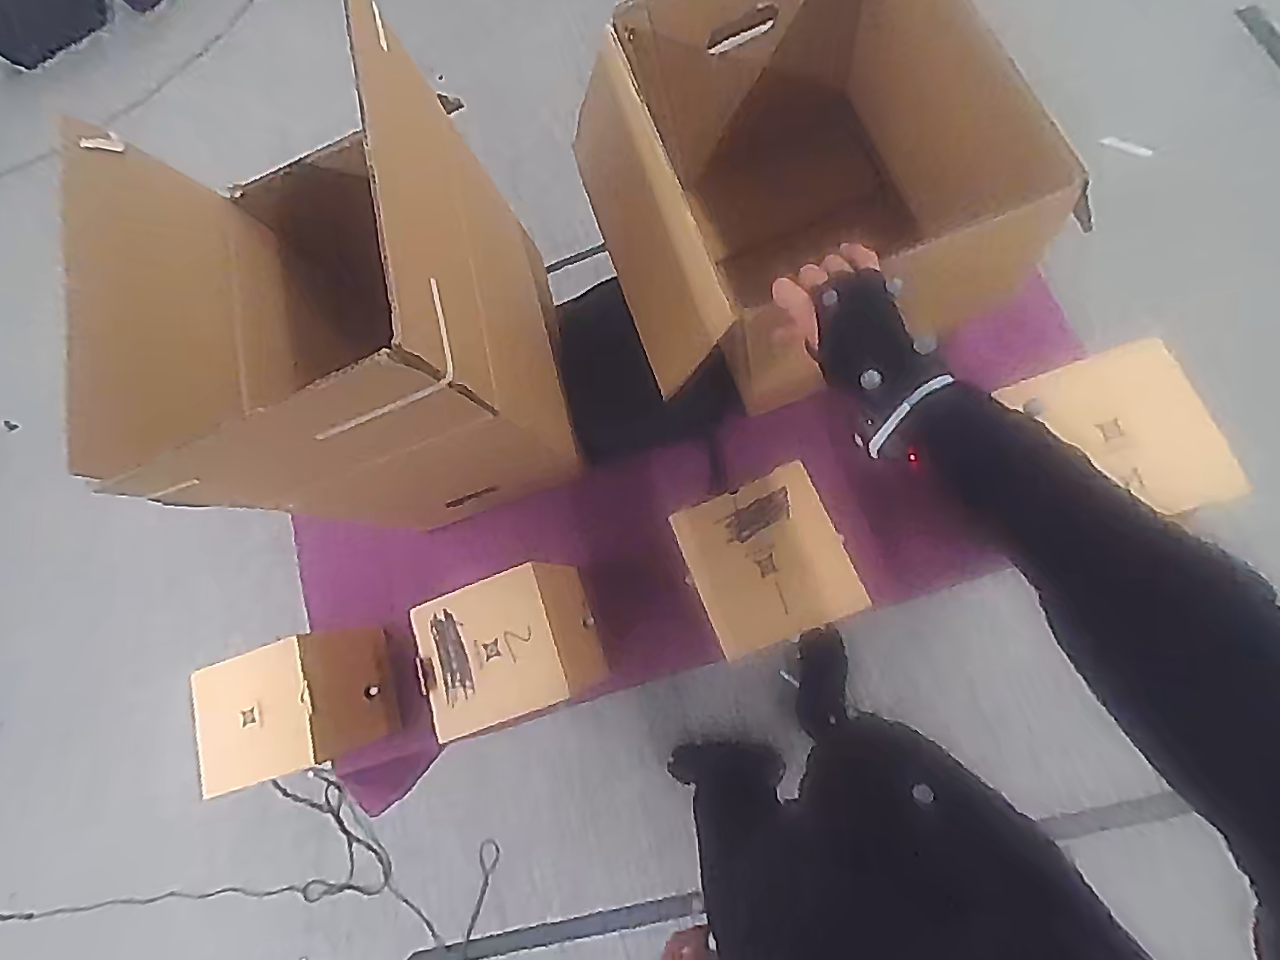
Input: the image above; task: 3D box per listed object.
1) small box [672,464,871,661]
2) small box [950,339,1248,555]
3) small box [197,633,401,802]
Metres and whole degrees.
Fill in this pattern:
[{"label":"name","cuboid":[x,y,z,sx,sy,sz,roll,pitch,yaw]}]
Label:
[{"label":"small box","cuboid":[0.155,0.104,0.671,0.168,0.176,0.179,-24,76,8]},{"label":"small box","cuboid":[0.488,-0.024,0.614,0.168,0.176,0.179,-20,75,10]},{"label":"small box","cuboid":[-0.482,0.328,0.779,0.179,0.176,0.168,-20,75,7]}]
